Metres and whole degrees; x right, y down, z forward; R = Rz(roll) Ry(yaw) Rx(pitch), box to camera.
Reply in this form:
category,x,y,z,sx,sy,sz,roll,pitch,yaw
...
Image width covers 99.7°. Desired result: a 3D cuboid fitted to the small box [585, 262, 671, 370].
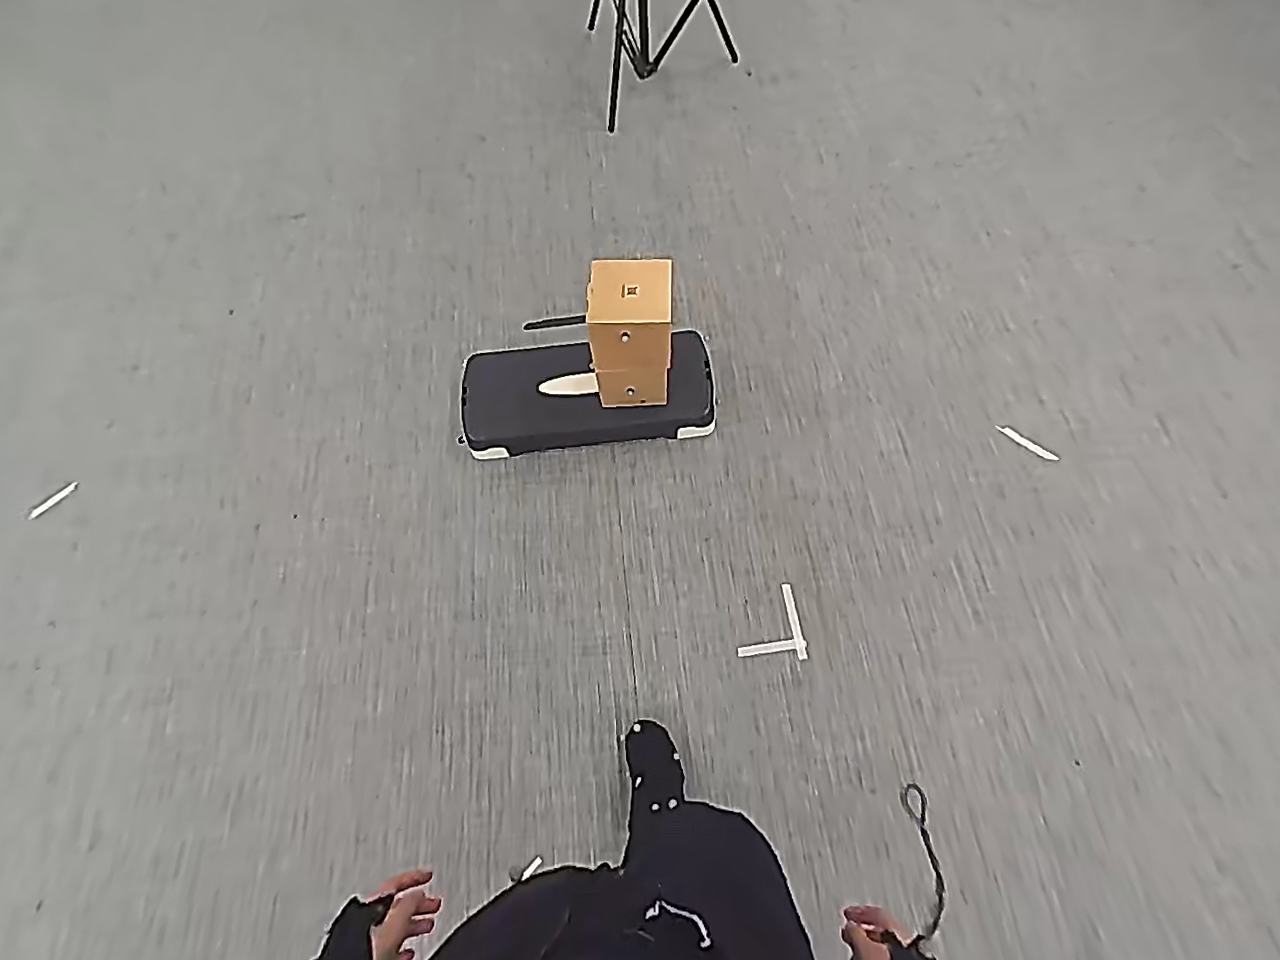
category,x,y,z,sx,sy,sz,roll,pitch,yaw
small box,-0.020,-0.356,1.194,0.179,0.176,0.168,0,68,4

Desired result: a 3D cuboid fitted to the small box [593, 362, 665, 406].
category,x,y,z,sx,sy,sz,roll,pitch,yaw
small box,-0.024,-0.293,1.345,0.168,0.176,0.179,-2,68,1
